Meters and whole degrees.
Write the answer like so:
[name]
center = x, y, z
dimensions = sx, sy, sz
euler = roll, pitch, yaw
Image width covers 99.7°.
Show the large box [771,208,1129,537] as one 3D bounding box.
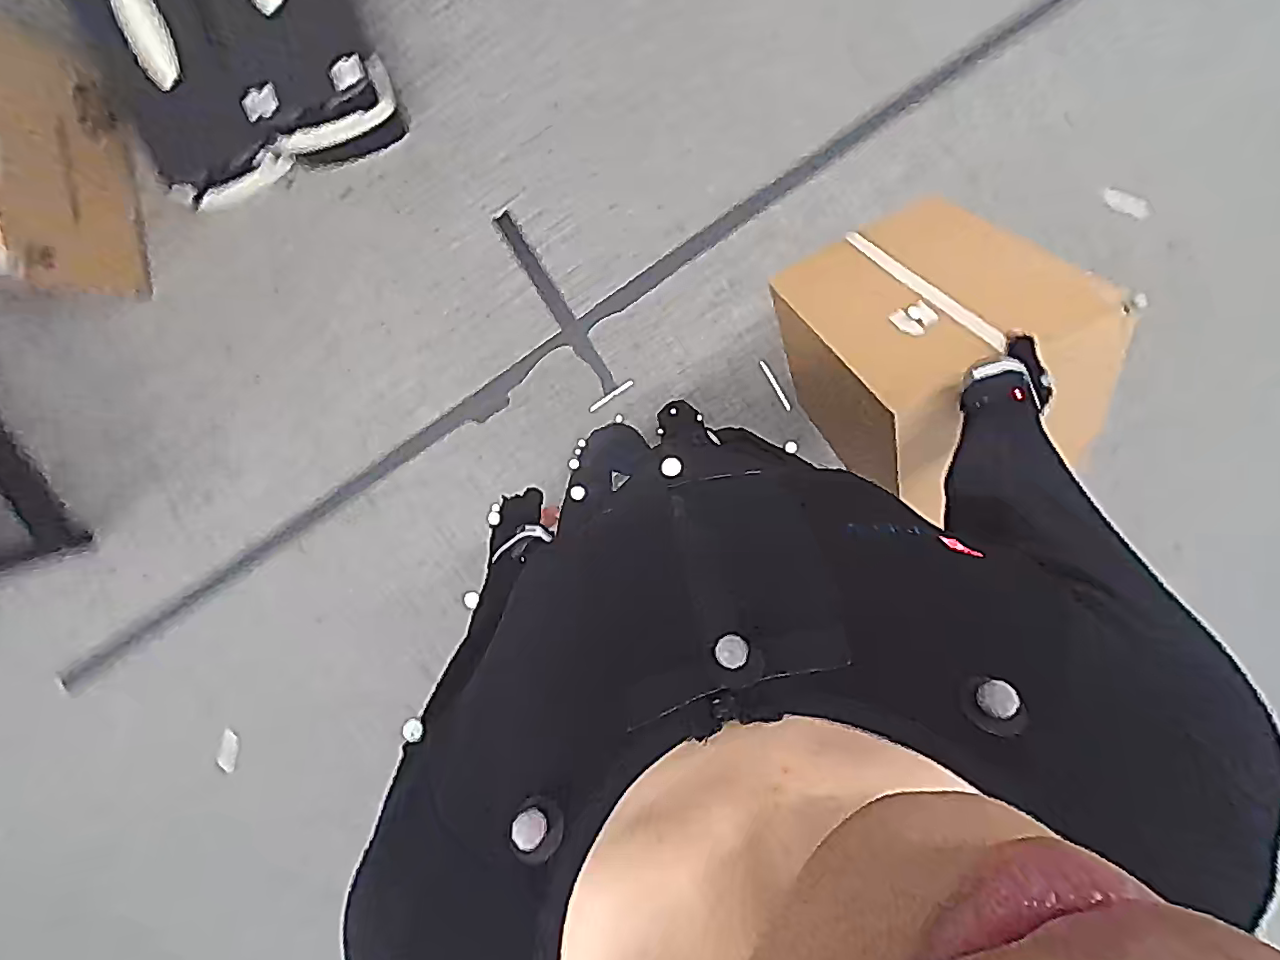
[large box]
center = 0.469, -0.184, 0.922
dimensions = 0.320, 0.408, 0.320
euler = -26, 137, 7
